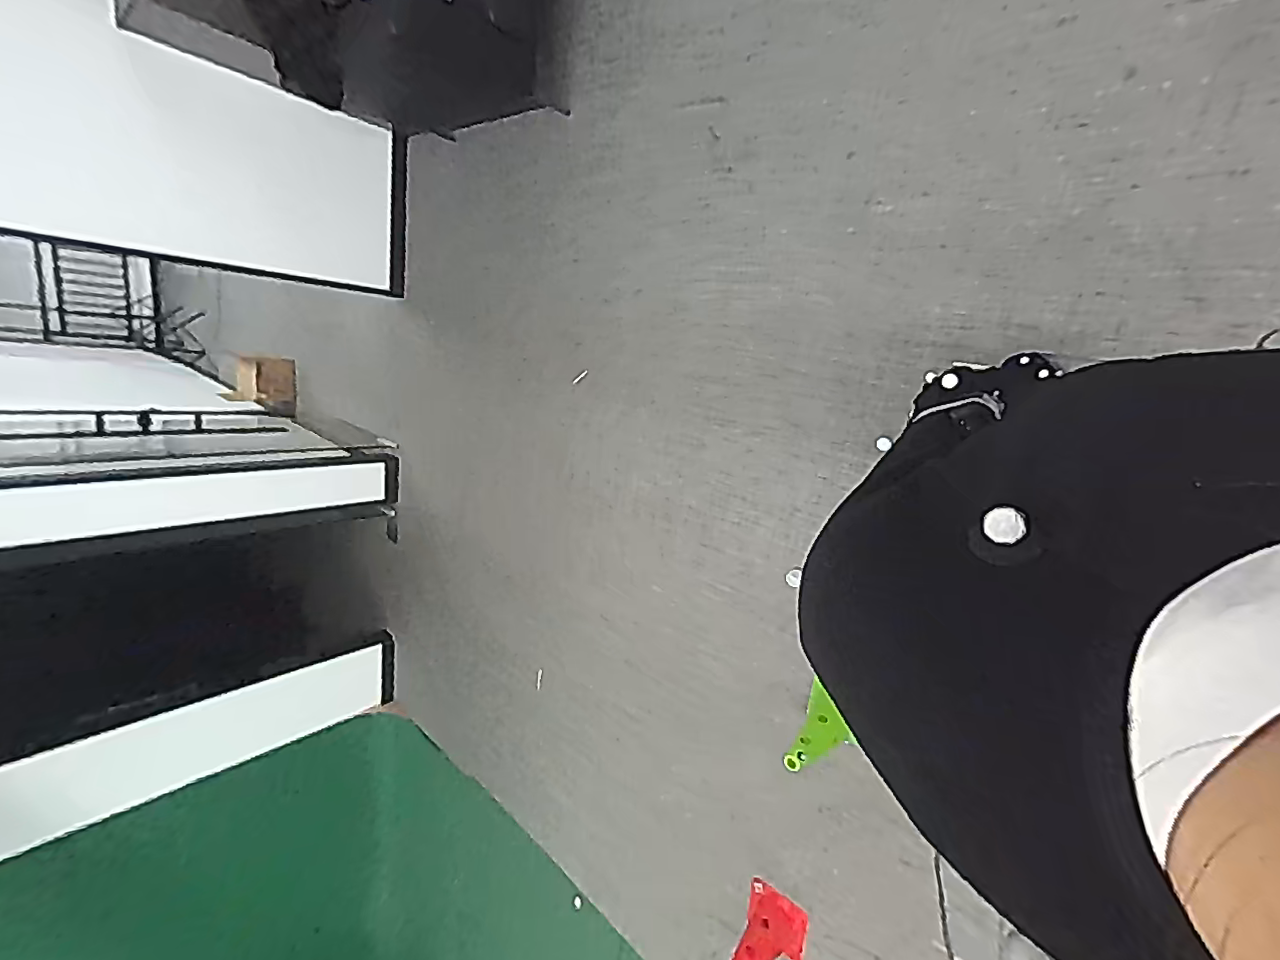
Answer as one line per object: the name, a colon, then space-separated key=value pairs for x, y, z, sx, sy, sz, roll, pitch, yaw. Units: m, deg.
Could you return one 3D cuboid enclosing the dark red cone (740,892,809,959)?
dark red cone: x=0.339 y=1.490 z=1.632 sx=0.202 sy=0.394 sz=0.201 roll=12 pitch=104 yaw=40
